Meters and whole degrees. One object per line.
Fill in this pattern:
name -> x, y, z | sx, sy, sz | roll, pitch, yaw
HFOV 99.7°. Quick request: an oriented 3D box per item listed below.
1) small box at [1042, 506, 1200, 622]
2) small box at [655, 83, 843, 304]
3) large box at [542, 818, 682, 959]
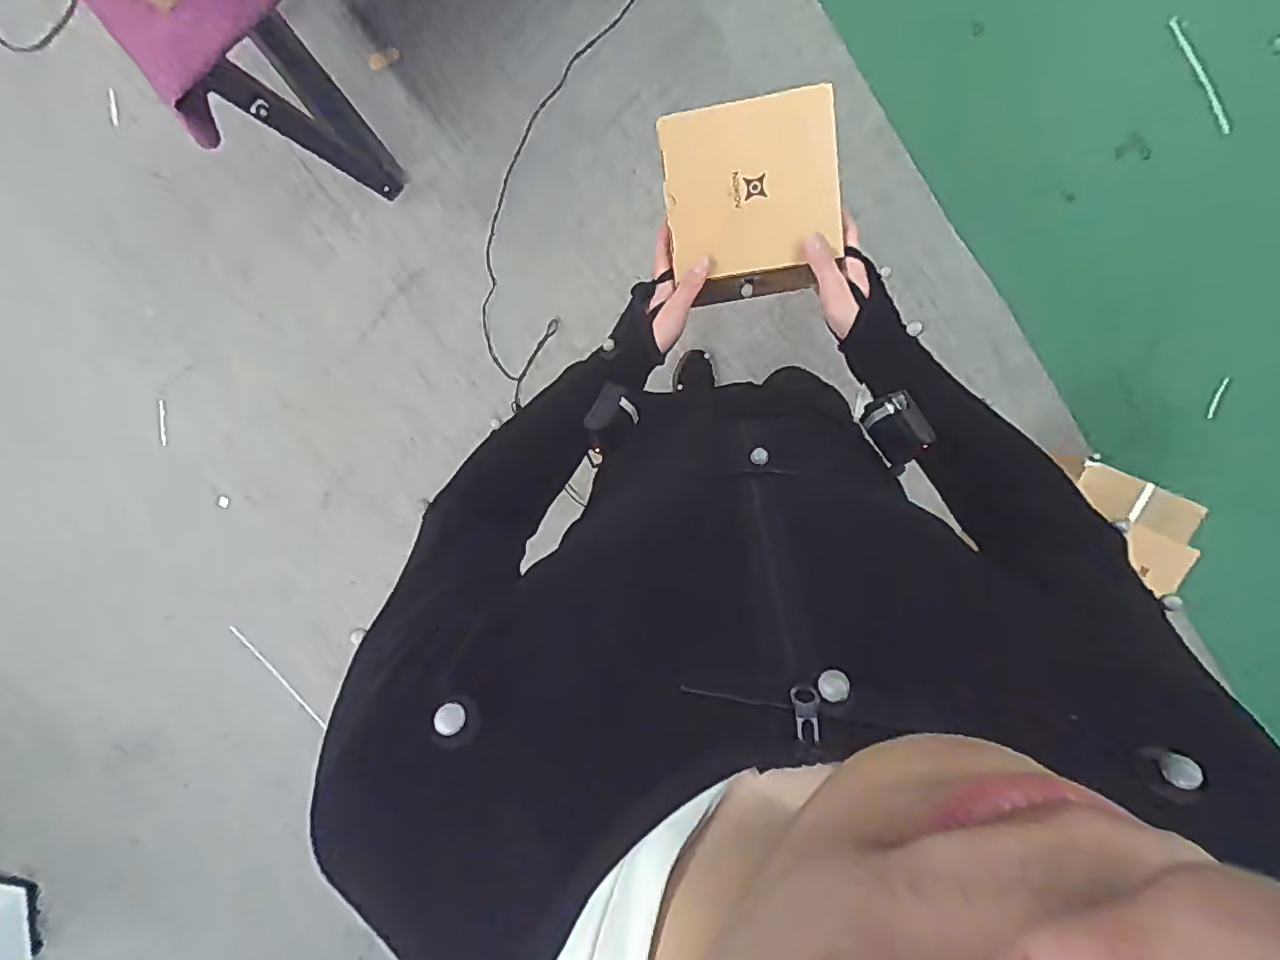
small box -> 1.054, 0.180, 1.208 | 0.168, 0.176, 0.179 | 22, 102, -1
small box -> 0.120, -0.308, 0.621 | 0.179, 0.176, 0.168 | -7, 99, 9
large box -> -0.078, 1.363, 1.769 | 0.408, 0.320, 0.320 | -4, 102, 3
